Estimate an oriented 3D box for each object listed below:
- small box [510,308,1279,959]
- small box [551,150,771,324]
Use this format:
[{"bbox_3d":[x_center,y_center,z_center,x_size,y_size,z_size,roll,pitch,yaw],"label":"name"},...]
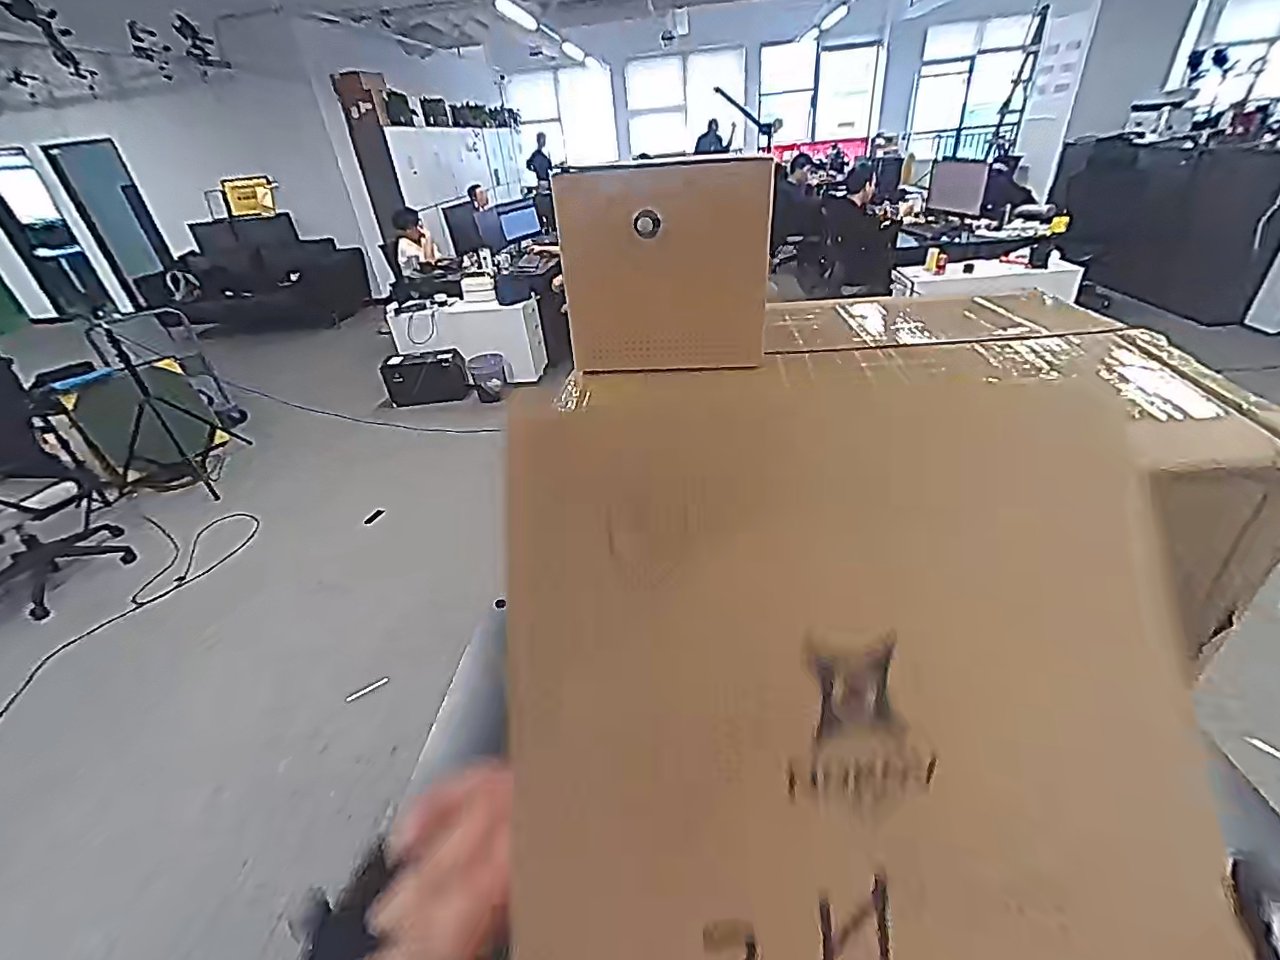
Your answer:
[{"bbox_3d":[0.050,0.055,0.202,0.168,0.179,0.176,-3,-7,-1],"label":"small box"},{"bbox_3d":[0.028,-0.214,0.524,0.179,0.176,0.168,0,31,7],"label":"small box"}]
